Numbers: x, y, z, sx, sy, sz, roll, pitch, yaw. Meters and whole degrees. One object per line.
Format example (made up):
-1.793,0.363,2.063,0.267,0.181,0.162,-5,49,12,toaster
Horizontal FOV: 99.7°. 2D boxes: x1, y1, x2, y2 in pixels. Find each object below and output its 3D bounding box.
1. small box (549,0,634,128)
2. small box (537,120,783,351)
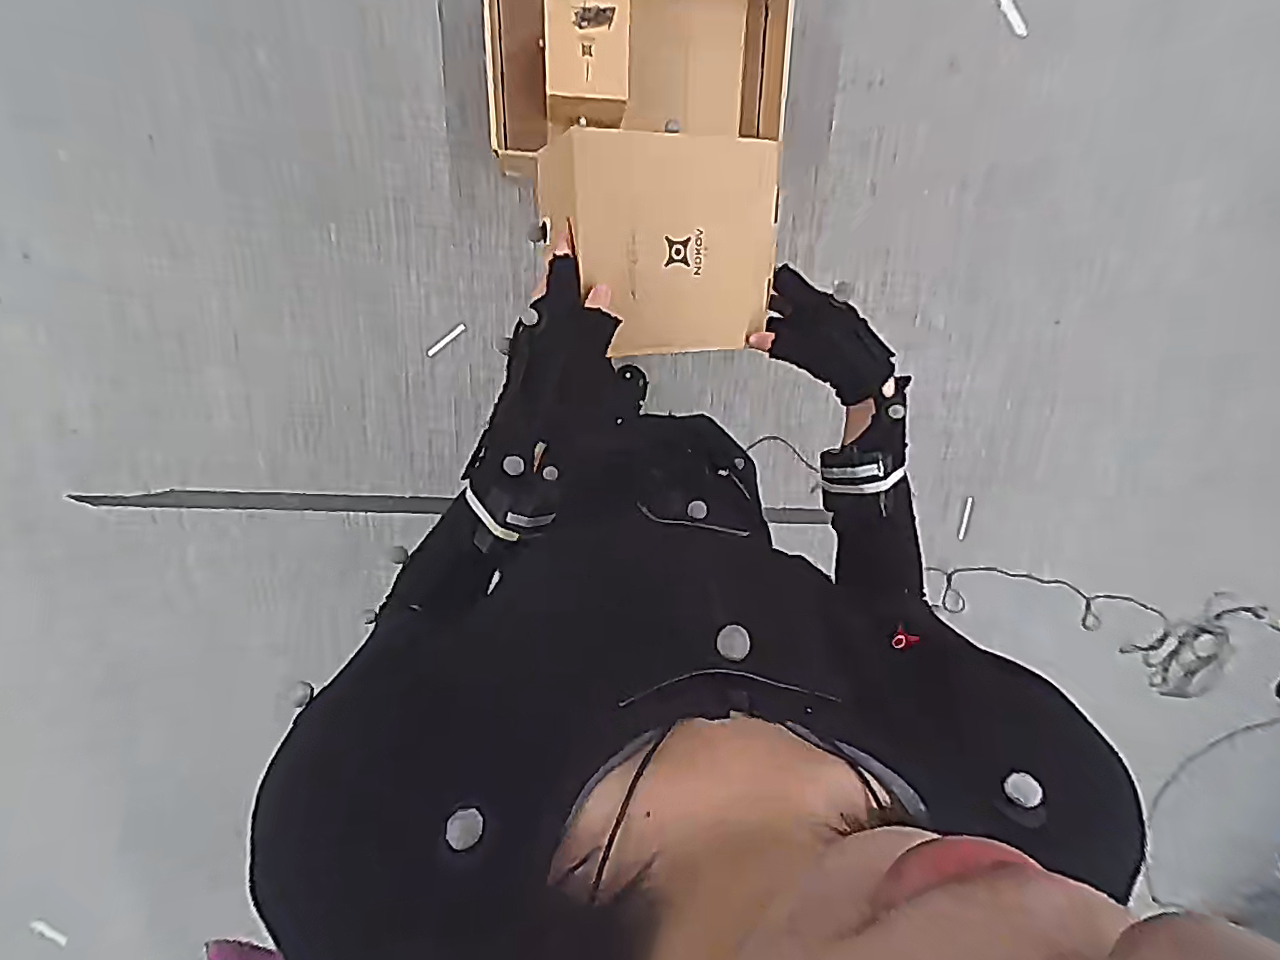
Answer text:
-0.107,-0.863,1.133,0.168,0.176,0.179,0,107,-7,small box
0.009,-0.220,0.510,0.179,0.176,0.168,-8,113,-17,small box
